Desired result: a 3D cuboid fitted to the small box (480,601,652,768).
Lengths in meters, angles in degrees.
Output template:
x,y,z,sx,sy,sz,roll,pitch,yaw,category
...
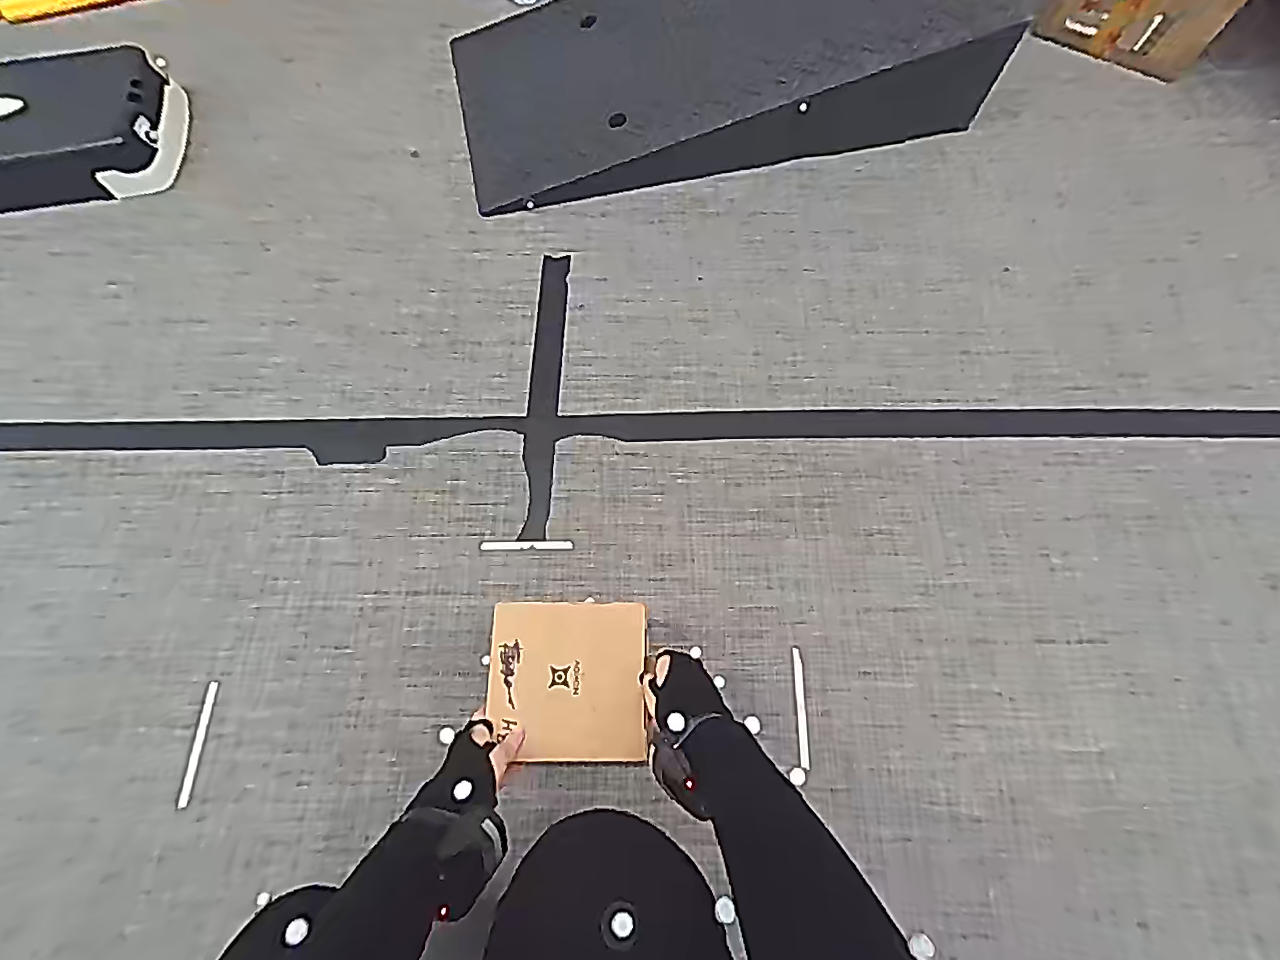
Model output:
x,y,z,sx,sy,sz,roll,pitch,yaw,category
-0.077,0.240,0.652,0.179,0.176,0.168,1,71,0,small box
